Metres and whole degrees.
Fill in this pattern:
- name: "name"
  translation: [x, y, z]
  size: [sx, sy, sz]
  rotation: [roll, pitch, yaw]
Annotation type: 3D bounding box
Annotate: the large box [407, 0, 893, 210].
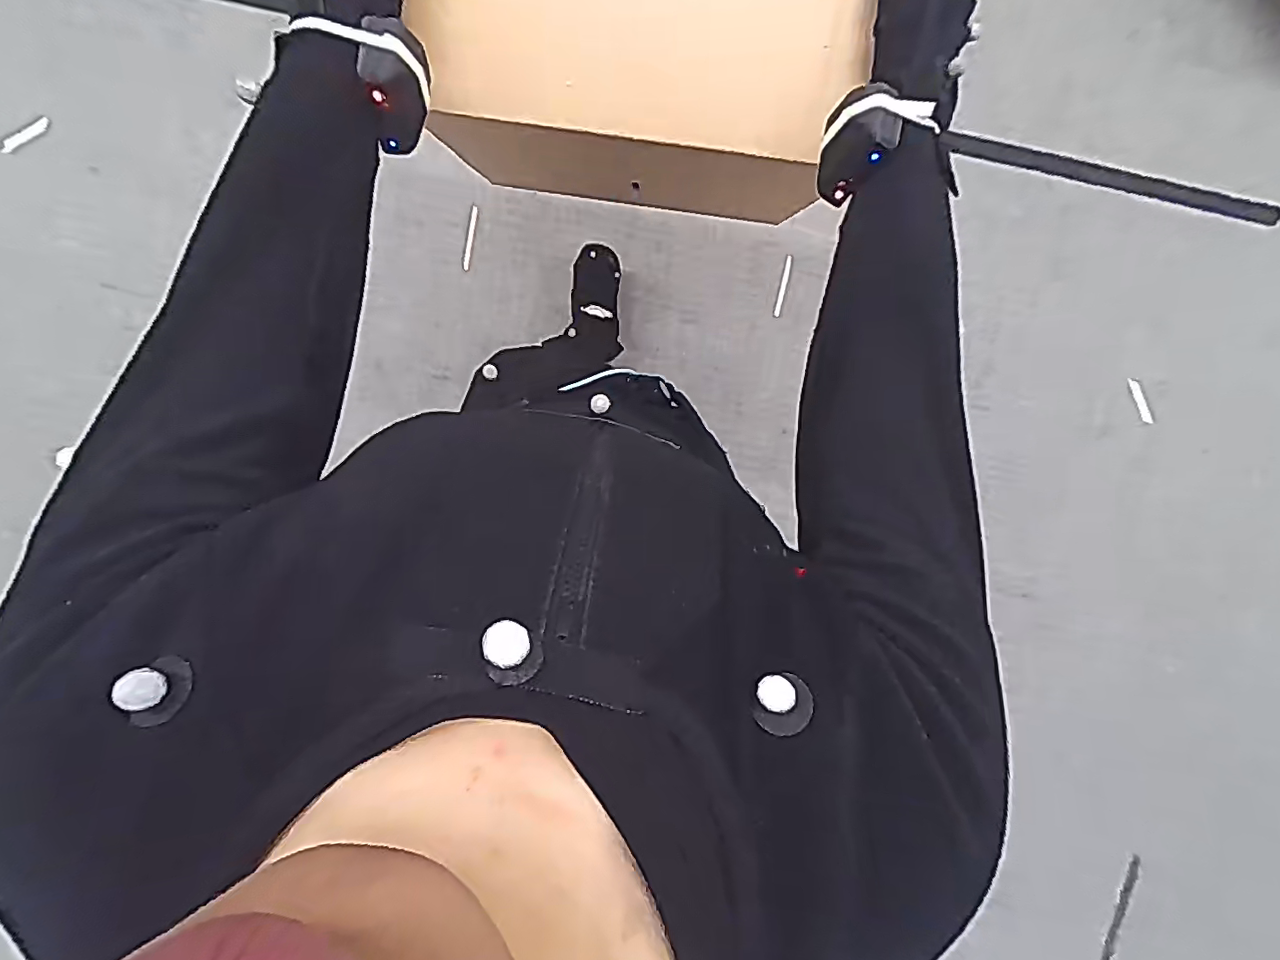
- name: "large box"
  translation: [0.017, -0.494, 0.567]
  size: [0.408, 0.320, 0.320]
  rotation: [7, 107, -2]
